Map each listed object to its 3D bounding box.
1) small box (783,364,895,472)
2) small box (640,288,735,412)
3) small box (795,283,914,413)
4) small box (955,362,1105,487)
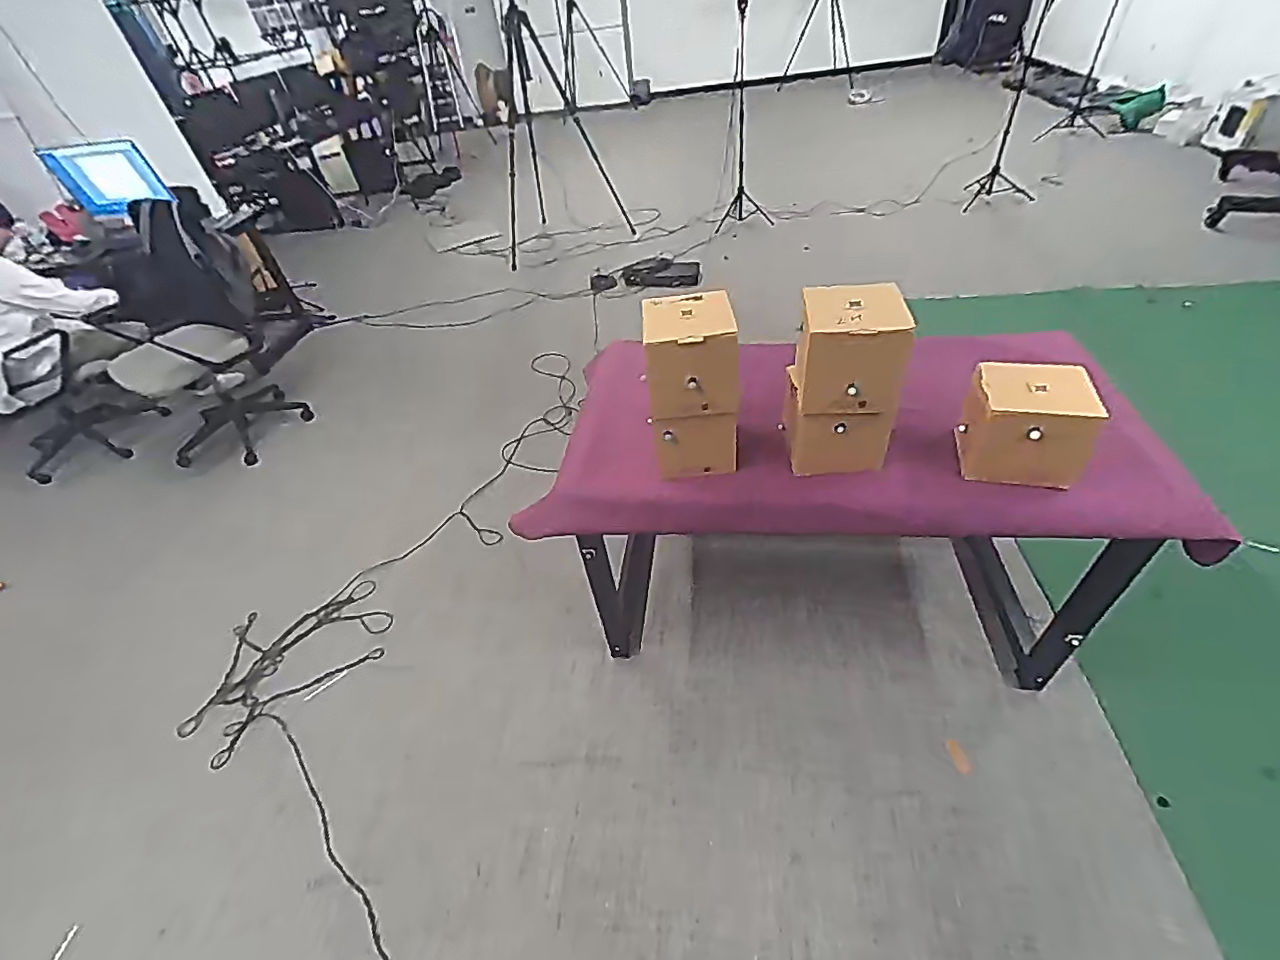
[{"bbox_3d":[0.394,-0.129,1.108,0.179,0.176,0.168,-3,44,5],"label":"small box"},{"bbox_3d":[0.092,-0.243,1.036,0.168,0.176,0.179,-4,44,4],"label":"small box"},{"bbox_3d":[0.379,-0.242,0.989,0.168,0.176,0.179,1,44,11],"label":"small box"},{"bbox_3d":[0.724,-0.104,1.026,0.179,0.176,0.168,6,44,18],"label":"small box"}]
